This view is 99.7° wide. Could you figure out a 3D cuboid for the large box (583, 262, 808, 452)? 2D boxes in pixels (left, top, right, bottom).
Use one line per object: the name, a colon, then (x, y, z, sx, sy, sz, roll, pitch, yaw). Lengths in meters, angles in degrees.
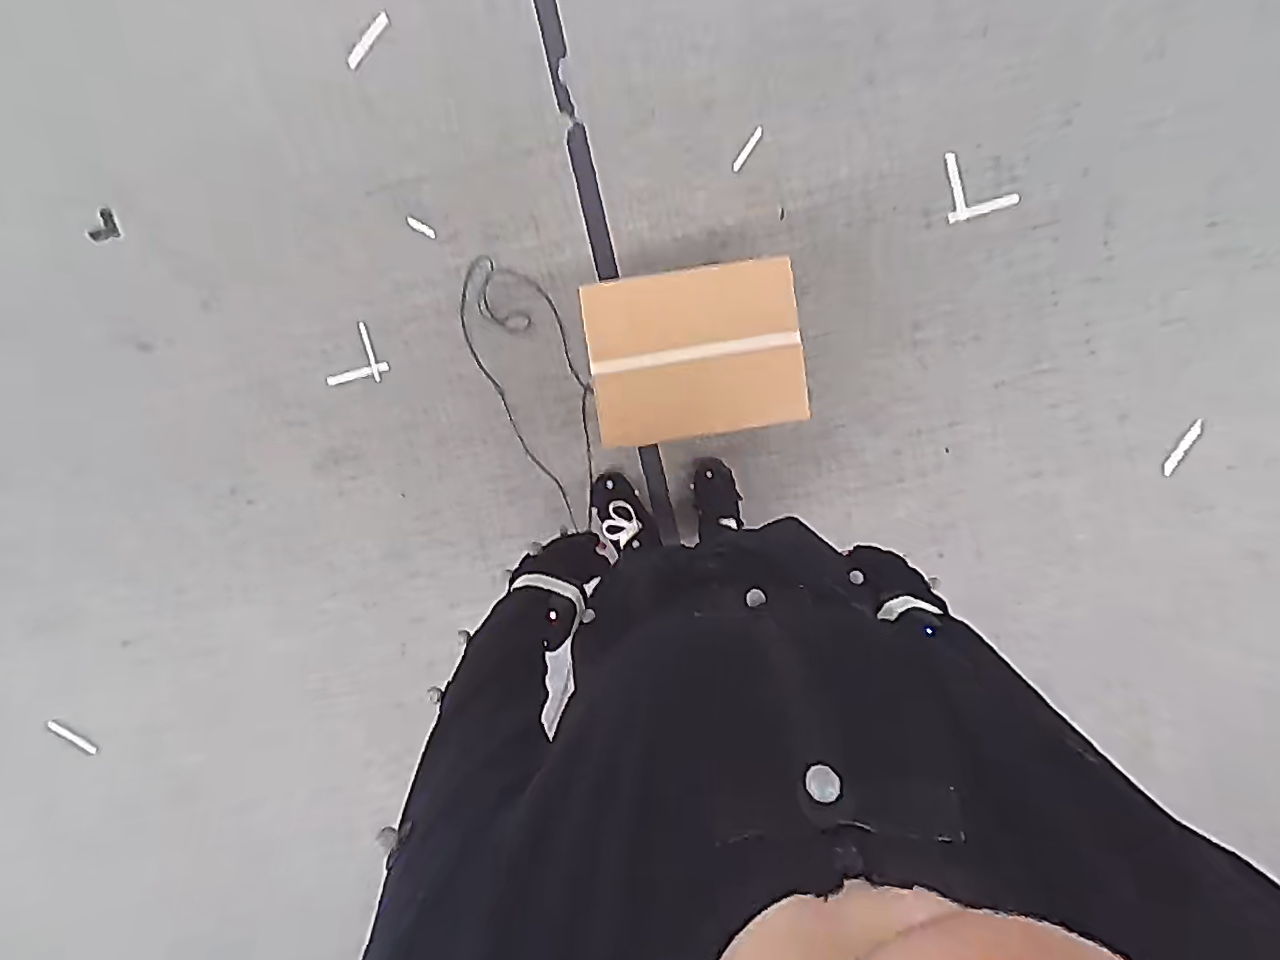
large box: (0.105, -0.246, 1.186, 0.408, 0.320, 0.320, -8, 96, -1)
